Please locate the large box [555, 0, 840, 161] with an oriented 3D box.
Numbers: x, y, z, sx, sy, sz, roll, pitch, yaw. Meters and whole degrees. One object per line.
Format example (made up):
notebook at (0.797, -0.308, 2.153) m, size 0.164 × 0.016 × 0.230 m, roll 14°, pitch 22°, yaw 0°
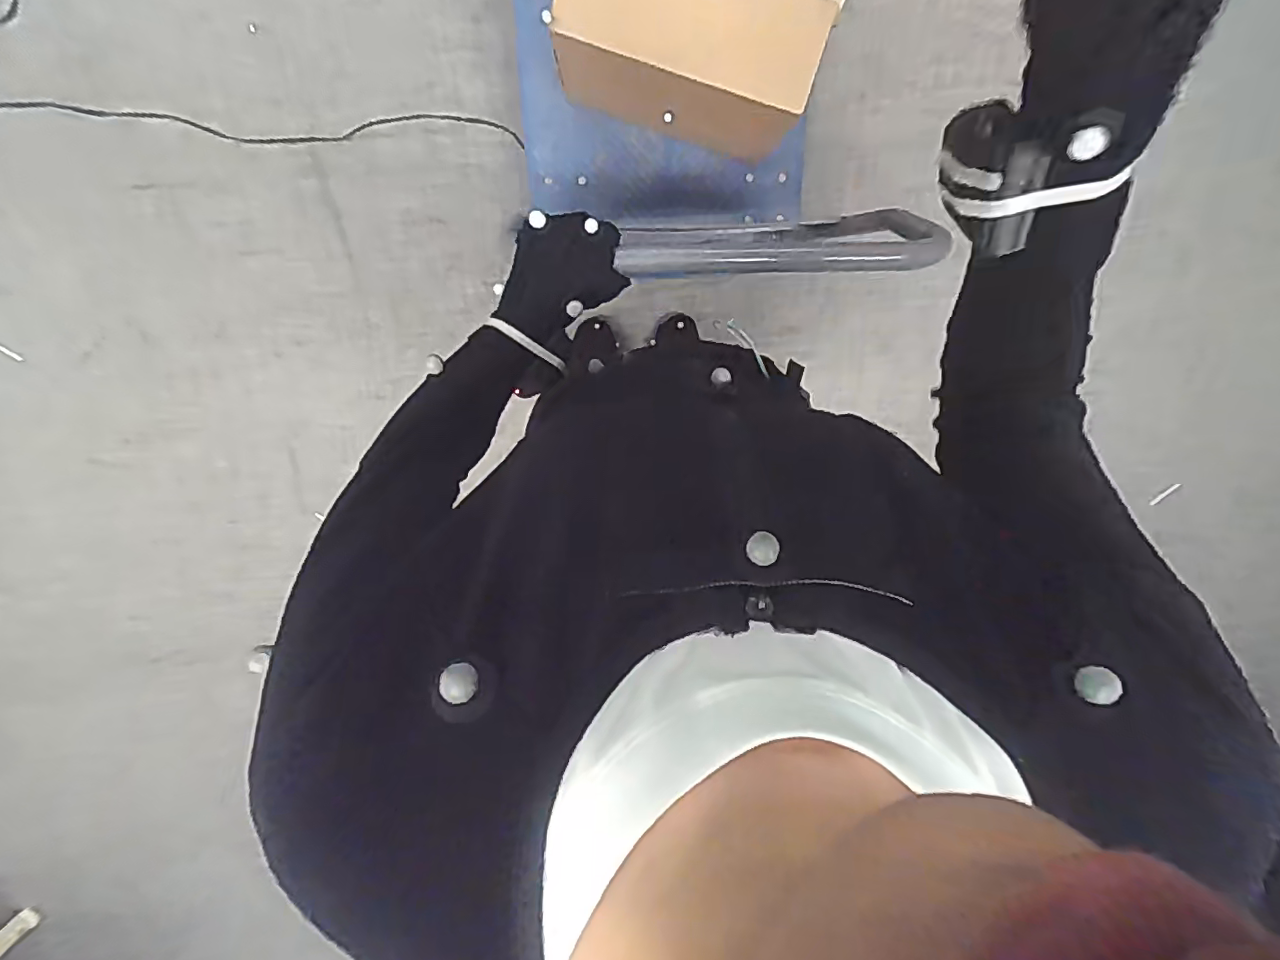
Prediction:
large box at (0.101, -0.793, 0.918) m, size 0.408 × 0.320 × 0.320 m, roll 14°, pitch 107°, yaw -6°
